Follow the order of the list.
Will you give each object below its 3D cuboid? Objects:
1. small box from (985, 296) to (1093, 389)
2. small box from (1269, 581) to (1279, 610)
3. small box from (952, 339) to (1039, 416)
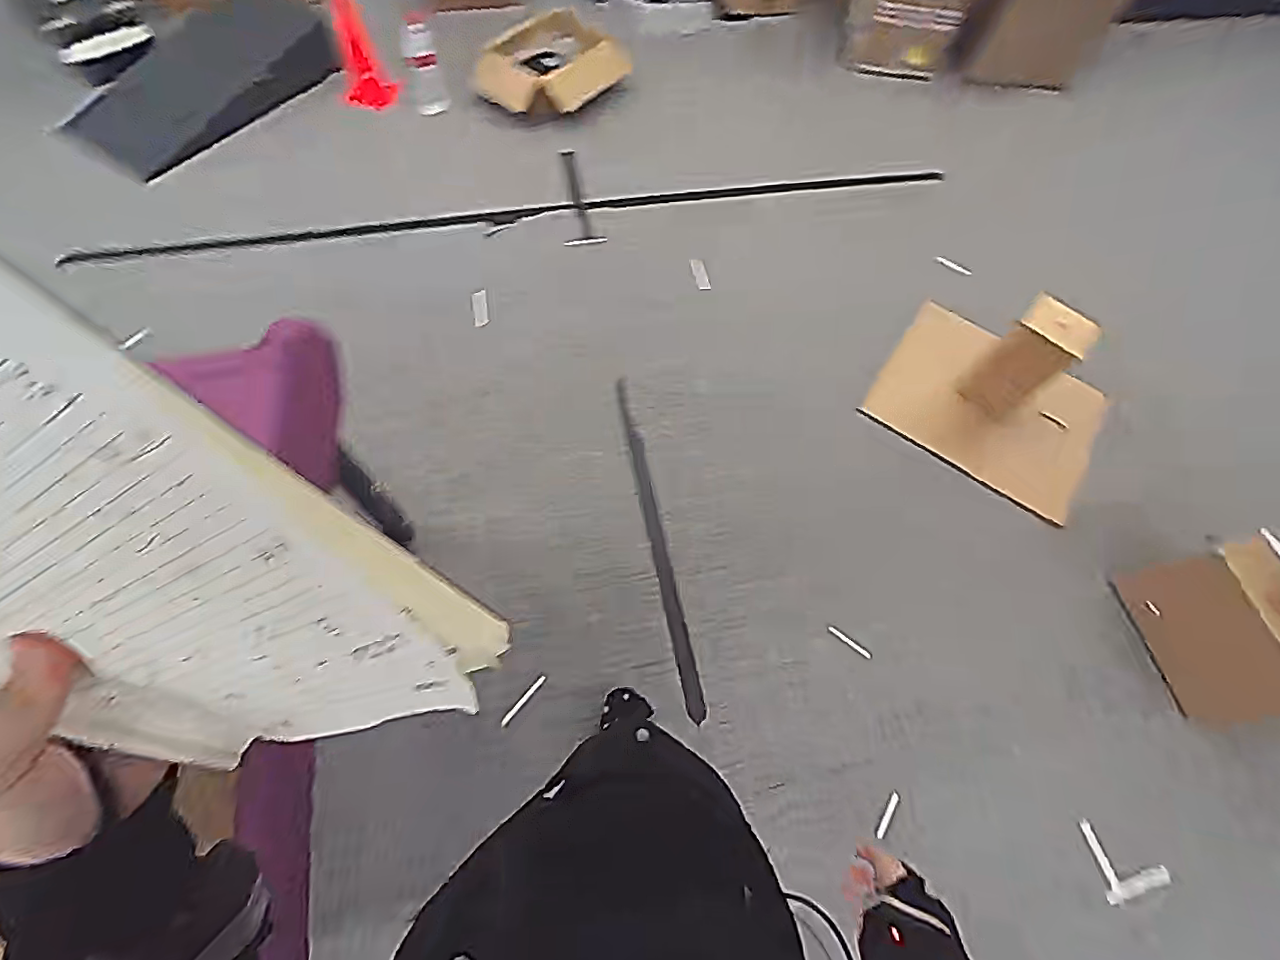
[{"bbox_3d":[1.185,-0.405,1.619,0.179,0.176,0.168,39,67,11],"label":"small box"},{"bbox_3d":[1.552,0.271,1.170,0.179,0.176,0.168,-13,67,-12],"label":"small box"},{"bbox_3d":[1.172,-0.333,1.765,0.179,0.176,0.168,38,67,10],"label":"small box"}]
